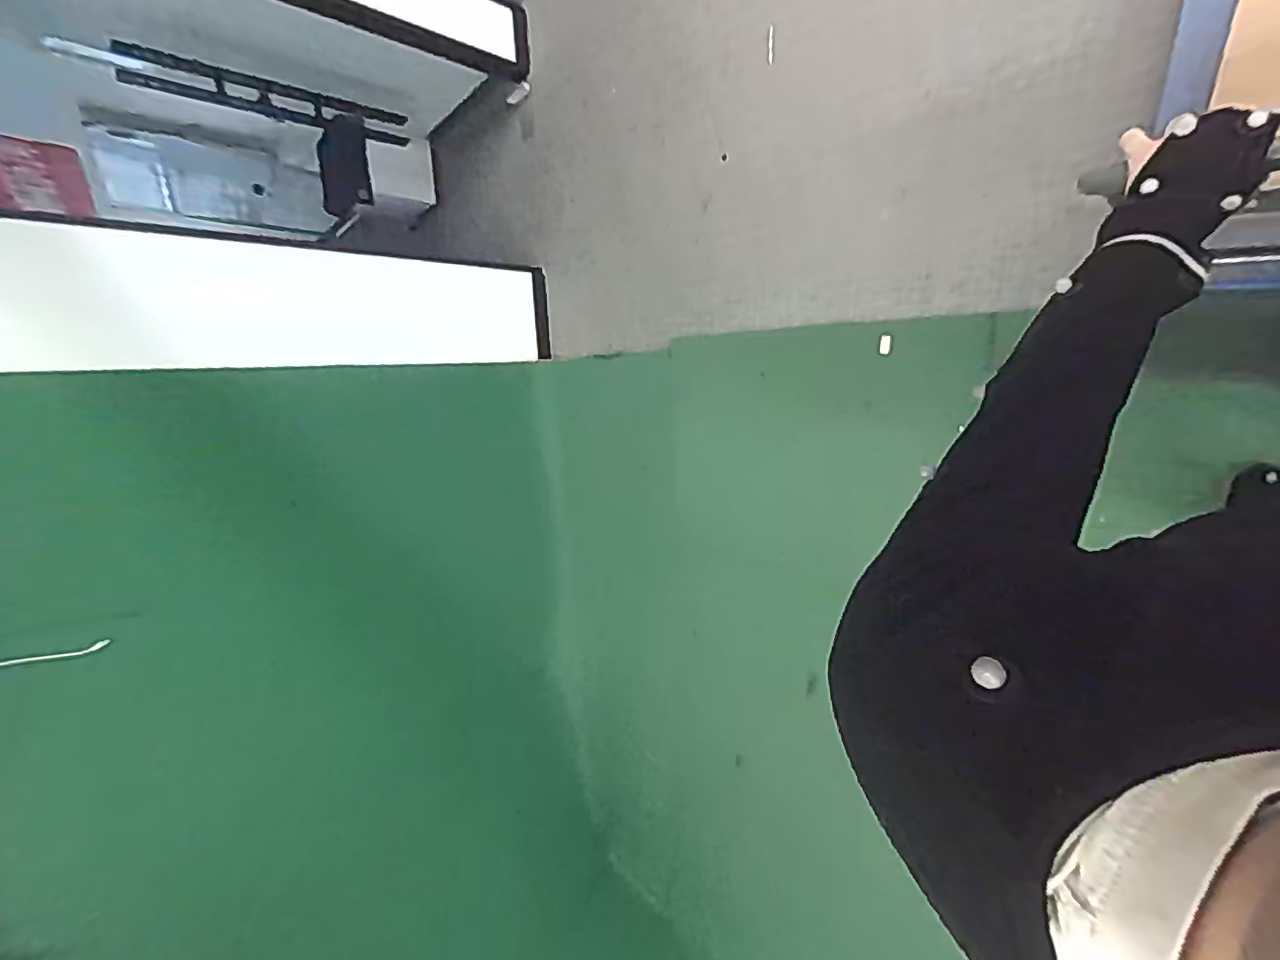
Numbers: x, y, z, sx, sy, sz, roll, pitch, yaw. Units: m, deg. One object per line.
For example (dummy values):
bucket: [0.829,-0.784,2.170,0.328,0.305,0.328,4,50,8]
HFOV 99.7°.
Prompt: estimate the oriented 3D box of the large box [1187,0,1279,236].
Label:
large box: [1.011,-0.583,0.725,0.320,0.320,0.408,17,110,46]
